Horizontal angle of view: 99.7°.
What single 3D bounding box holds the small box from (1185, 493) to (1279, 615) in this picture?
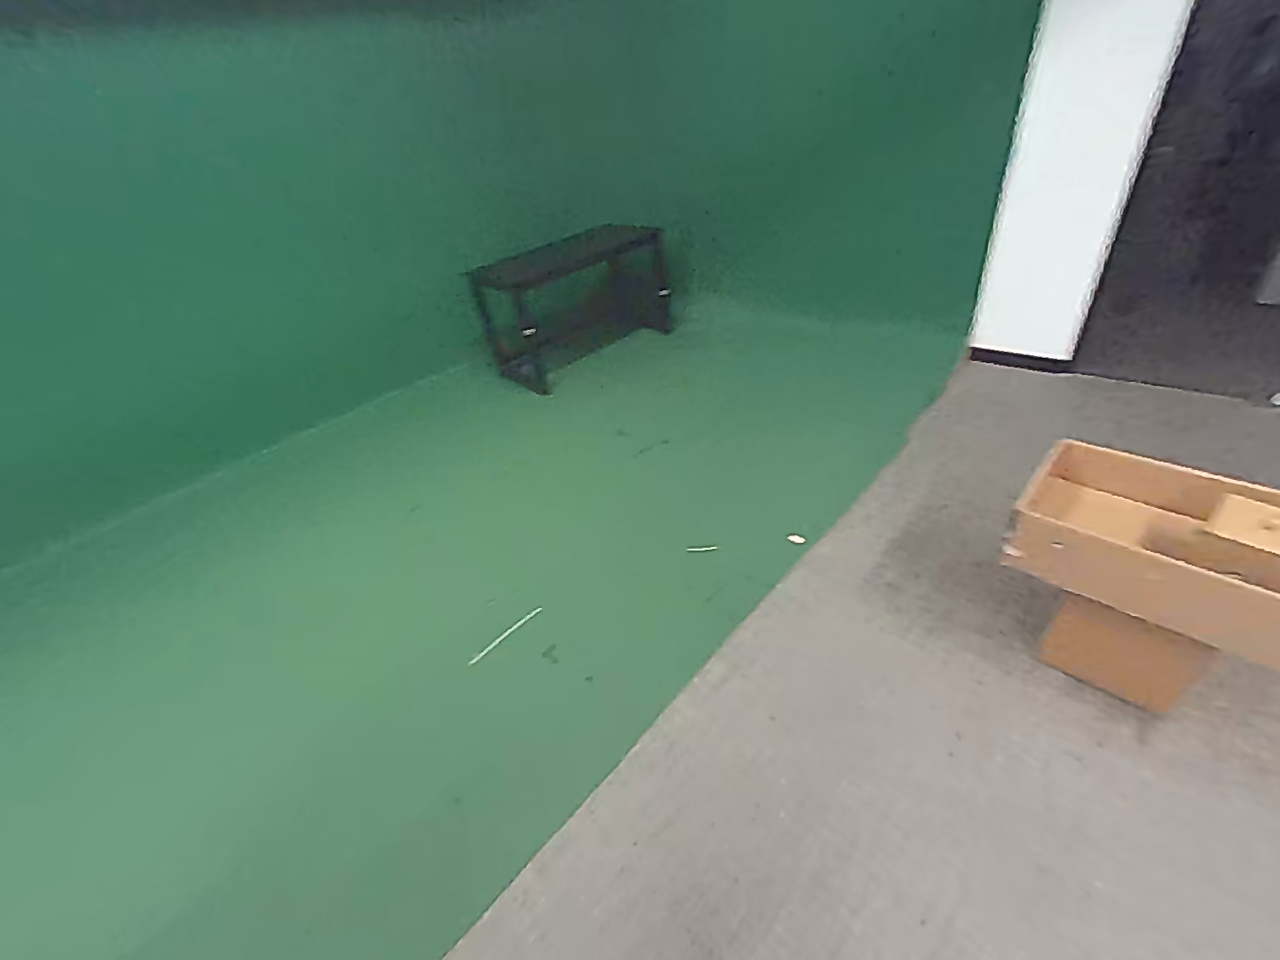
[{"bbox_3d":[1.370,0.165,1.203,0.179,0.176,0.168,-32,41,-27],"label":"small box"}]
